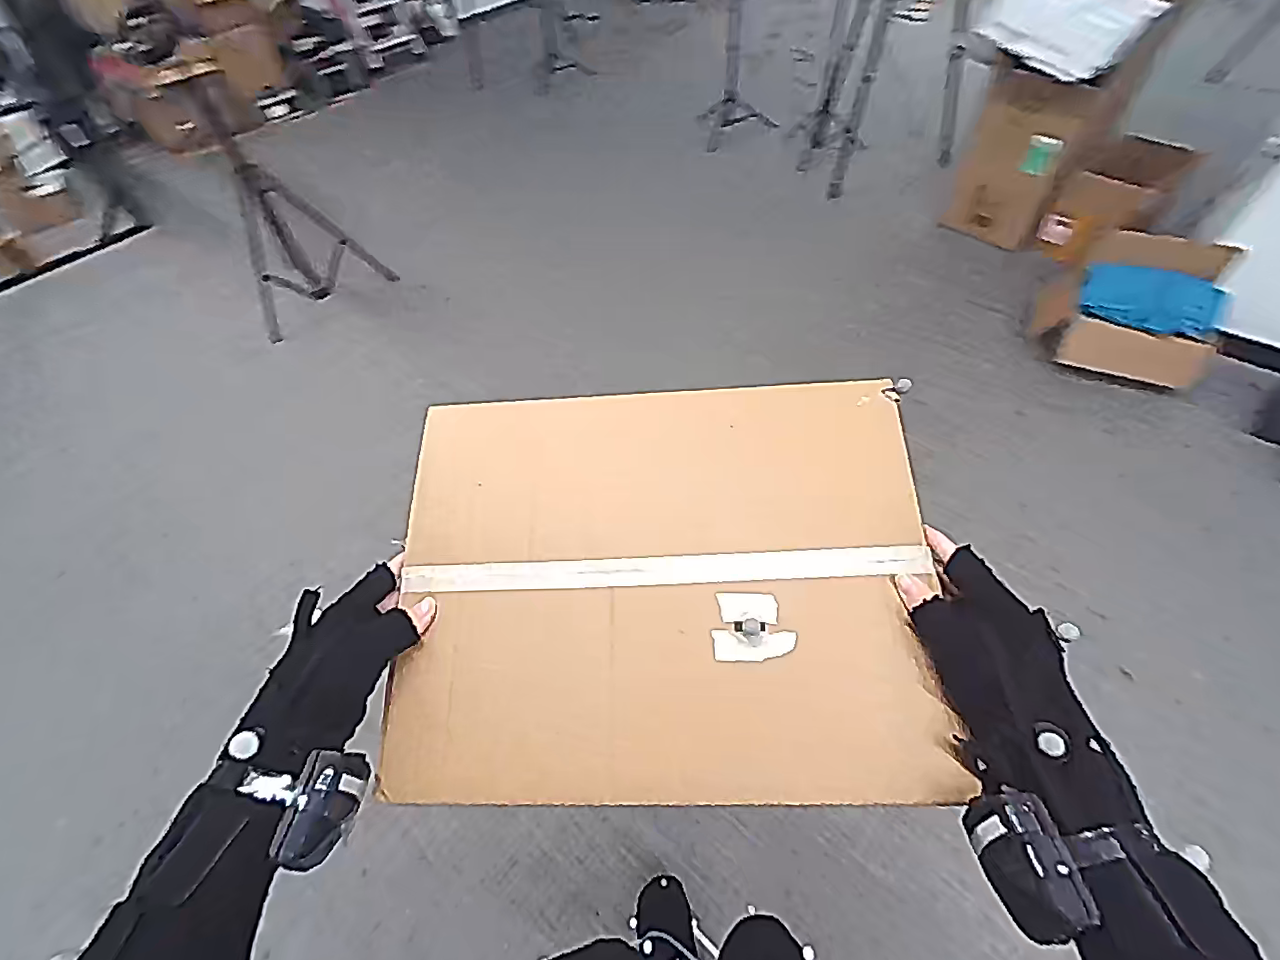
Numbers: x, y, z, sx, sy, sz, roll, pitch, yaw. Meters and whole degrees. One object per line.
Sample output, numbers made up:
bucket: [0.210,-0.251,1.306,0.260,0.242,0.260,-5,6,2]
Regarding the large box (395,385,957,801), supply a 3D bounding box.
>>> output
large box: [0.023,0.128,0.568,0.408,0.320,0.320,-4,69,4]
